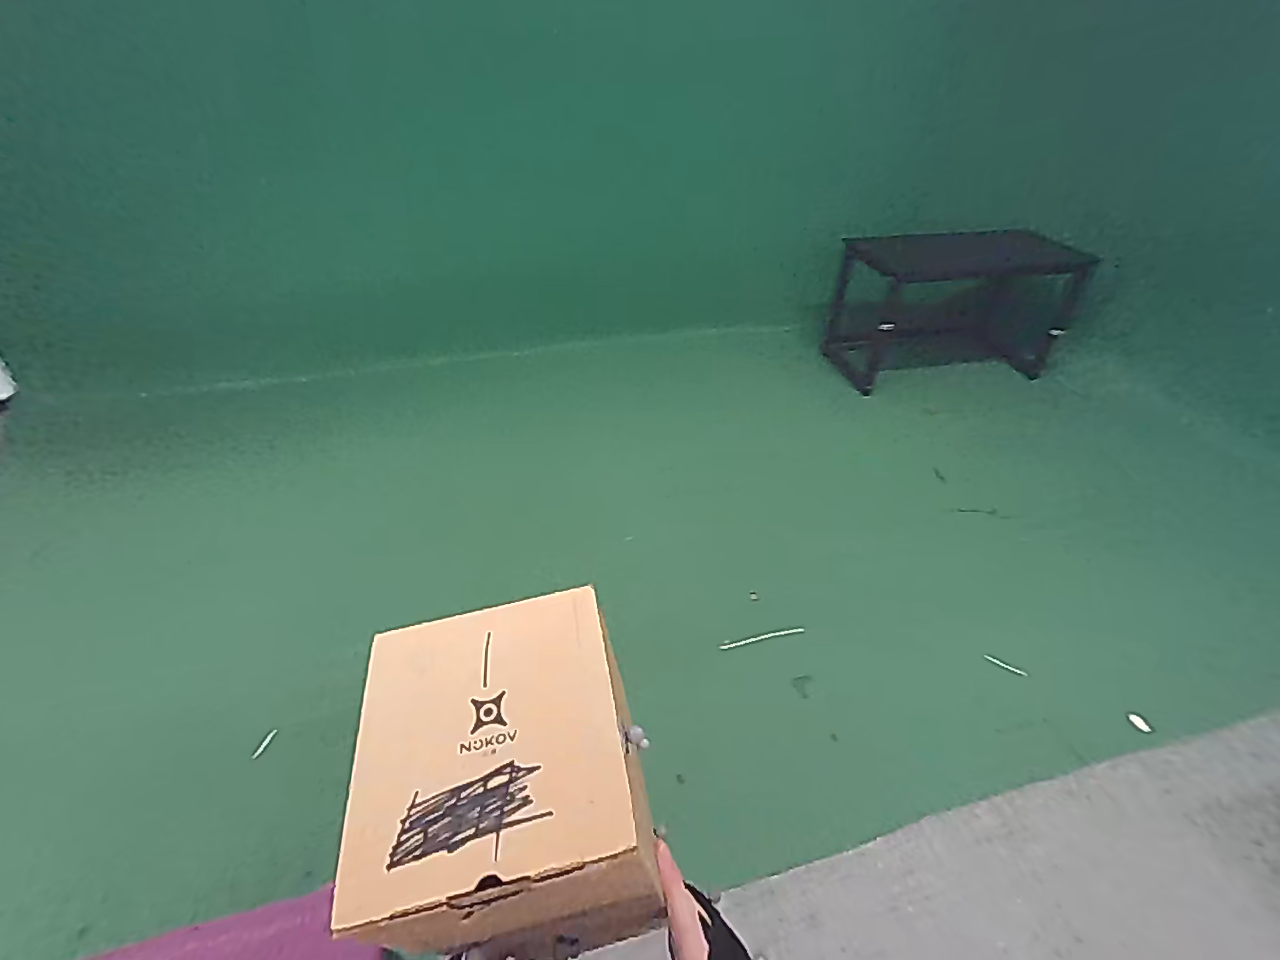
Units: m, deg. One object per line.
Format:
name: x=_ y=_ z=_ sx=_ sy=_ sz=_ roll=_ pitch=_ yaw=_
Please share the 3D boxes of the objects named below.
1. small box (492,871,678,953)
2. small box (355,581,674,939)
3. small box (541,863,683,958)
small box: x=-0.062 y=0.315 z=0.513 sx=0.168 sy=0.176 sz=0.179 roll=-10 pitch=47 yaw=-4
small box: x=-0.073 y=0.205 z=0.392 sx=0.168 sy=0.176 sz=0.179 roll=-11 pitch=45 yaw=-4
small box: x=-0.050 y=0.427 z=0.635 sx=0.168 sy=0.176 sz=0.179 roll=-11 pitch=47 yaw=-5
